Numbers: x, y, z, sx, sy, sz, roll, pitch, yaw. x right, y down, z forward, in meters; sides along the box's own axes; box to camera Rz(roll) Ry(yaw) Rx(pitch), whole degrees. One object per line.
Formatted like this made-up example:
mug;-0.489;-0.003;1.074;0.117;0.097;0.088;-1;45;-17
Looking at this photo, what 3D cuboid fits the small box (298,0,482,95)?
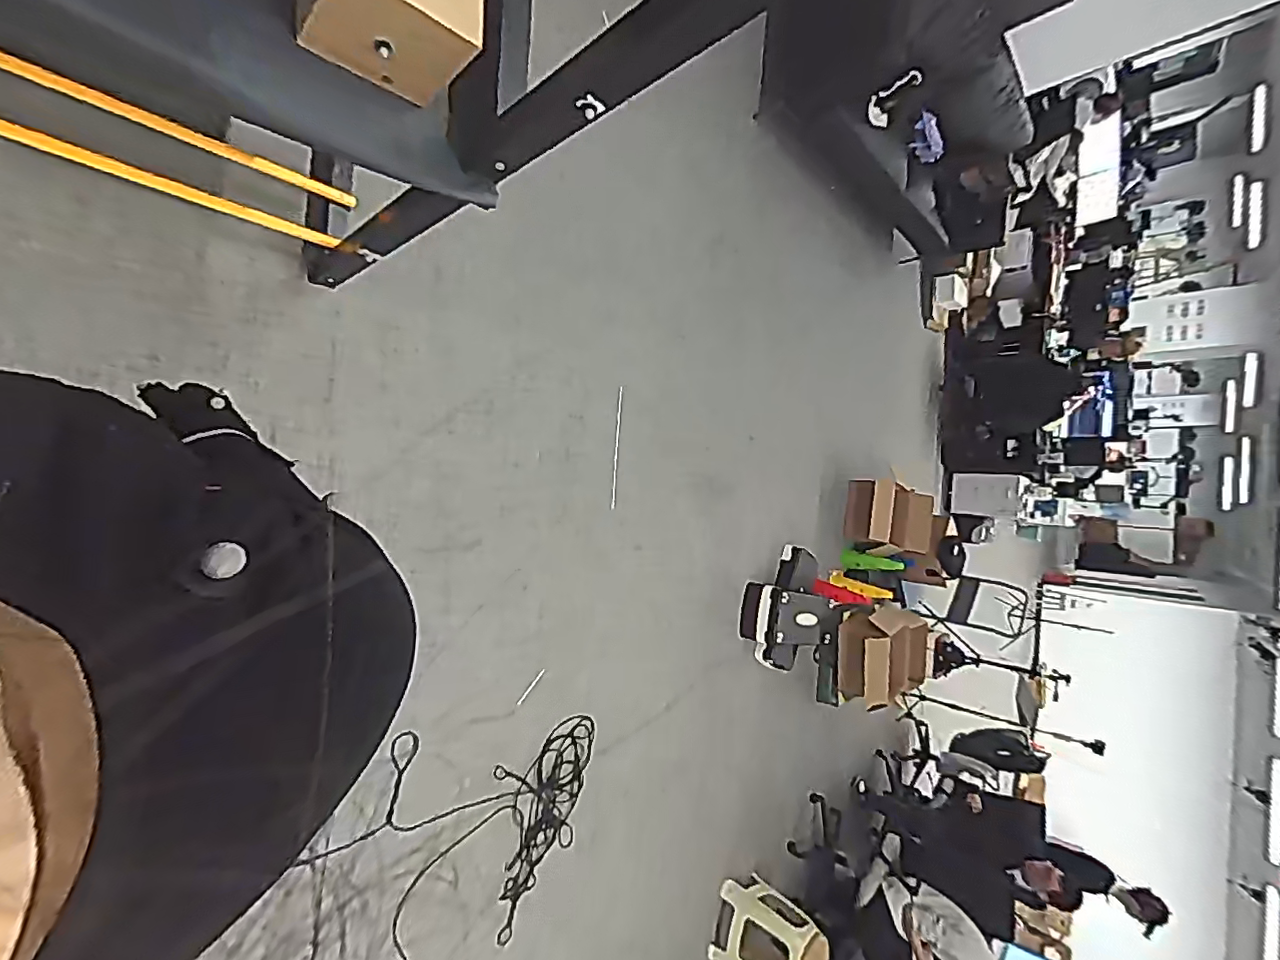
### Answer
small box;-0.312;-0.635;0.676;0.168;0.176;0.179;0;92;-47
